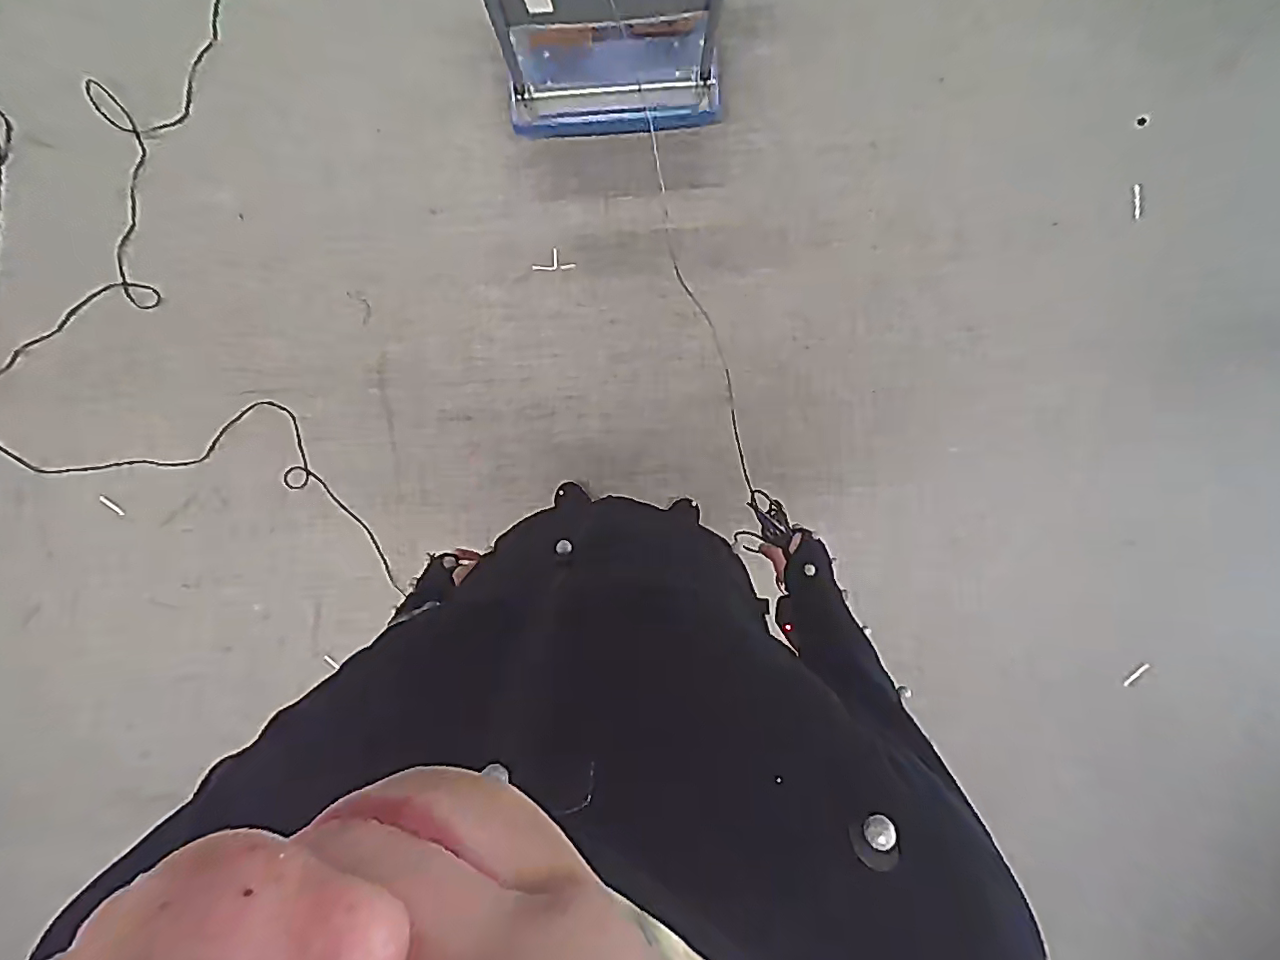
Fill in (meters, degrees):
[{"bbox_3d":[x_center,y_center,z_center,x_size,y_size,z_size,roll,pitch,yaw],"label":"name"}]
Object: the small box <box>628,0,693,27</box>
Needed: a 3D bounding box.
[{"bbox_3d":[0.051,-1.293,1.356,0.168,0.176,0.179,-2,92,1],"label":"small box"}]
